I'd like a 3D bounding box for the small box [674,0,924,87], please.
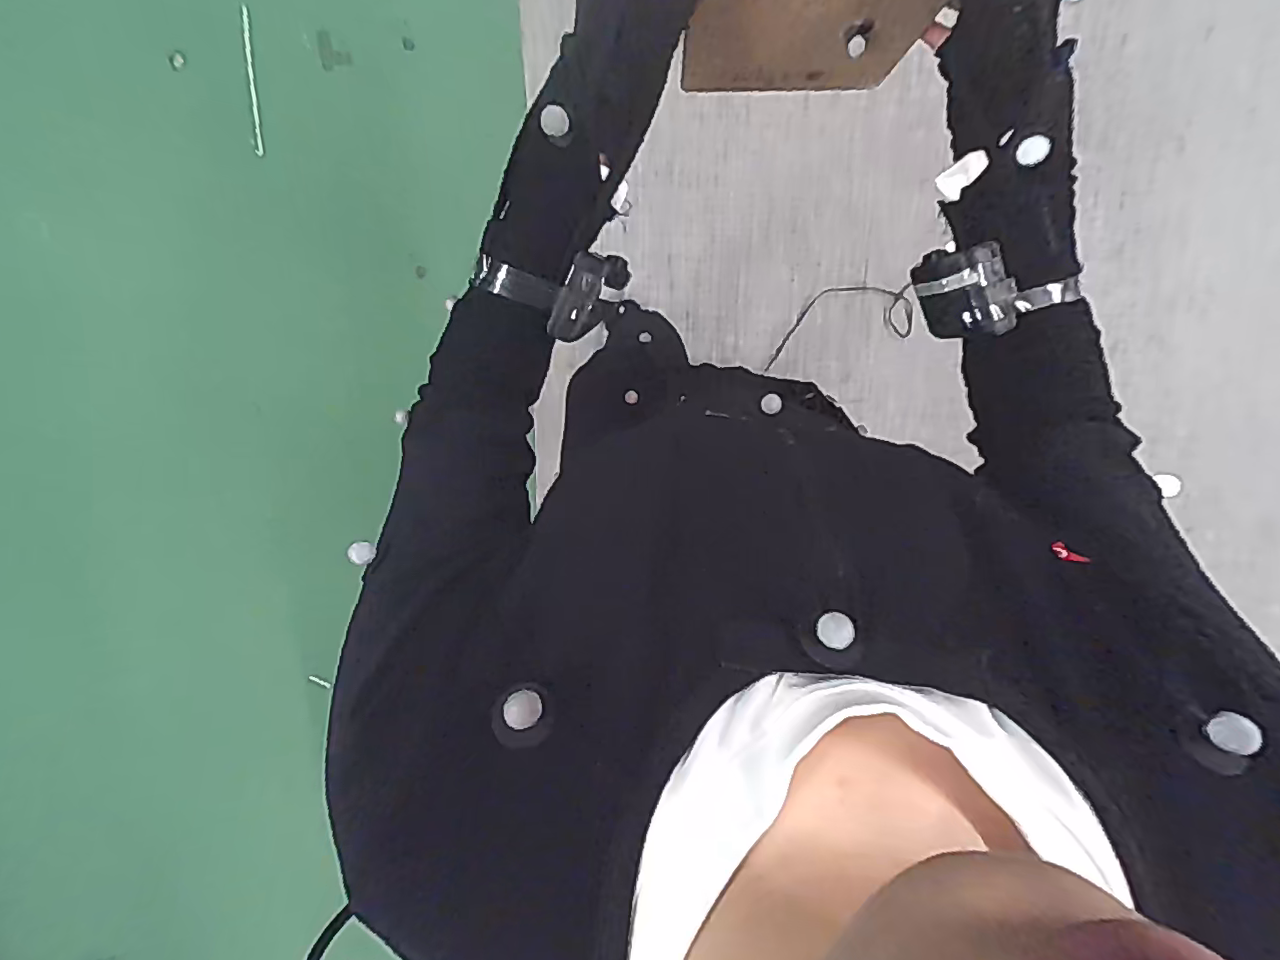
[{"bbox_3d":[0.110,-0.393,0.356,0.168,0.176,0.179,1,102,1],"label":"small box"}]
